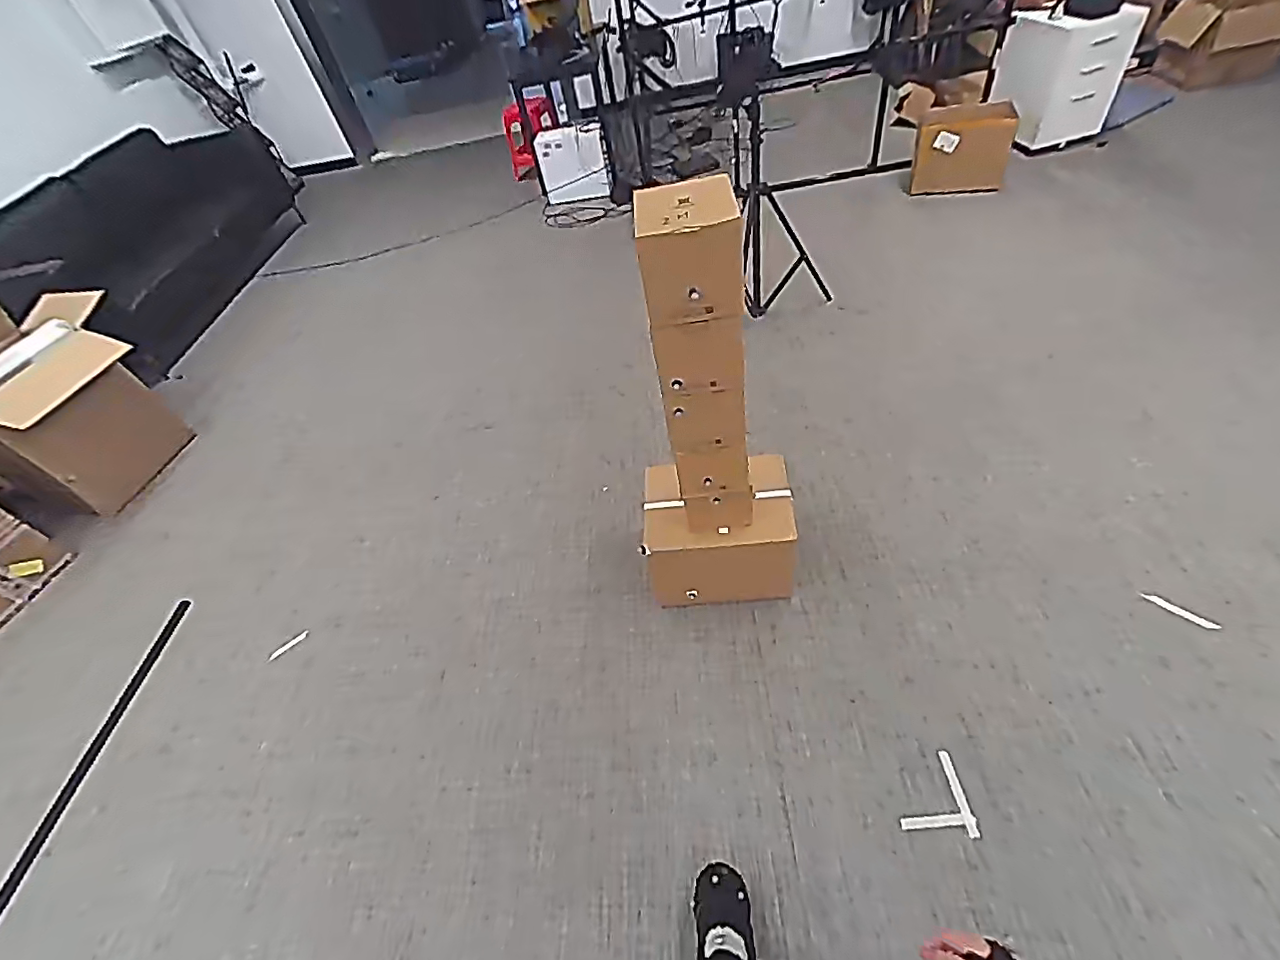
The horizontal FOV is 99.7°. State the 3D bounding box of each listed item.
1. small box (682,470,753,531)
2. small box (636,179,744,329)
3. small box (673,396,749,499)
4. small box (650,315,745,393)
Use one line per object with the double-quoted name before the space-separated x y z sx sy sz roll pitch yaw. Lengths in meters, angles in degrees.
"small box" 0.203 0.021 1.436 0.179 0.176 0.168 -7 49 6
"small box" 0.087 -0.390 0.939 0.168 0.176 0.179 -8 50 7
"small box" 0.171 -0.077 1.311 0.168 0.176 0.179 -7 50 7
"small box" 0.115 -0.286 1.064 0.168 0.176 0.179 -5 49 8
